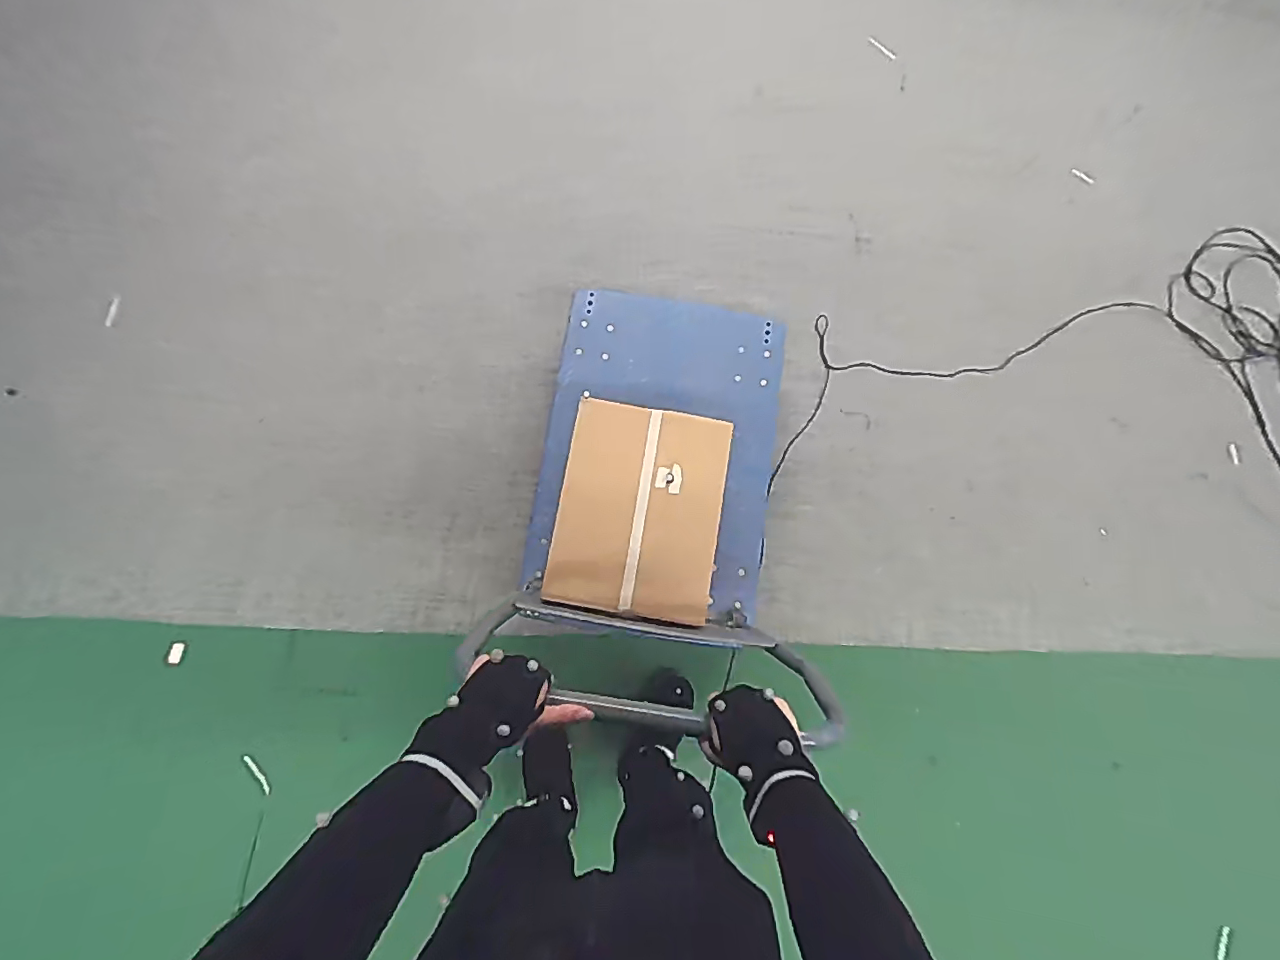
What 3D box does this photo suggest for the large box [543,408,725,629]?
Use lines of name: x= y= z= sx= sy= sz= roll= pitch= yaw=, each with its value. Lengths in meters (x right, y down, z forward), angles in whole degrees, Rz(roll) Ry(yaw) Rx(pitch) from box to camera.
large box: x=-0.012 y=0.100 z=1.199 sx=0.320 sy=0.320 sz=0.408 roll=10 pitch=78 yaw=-2
